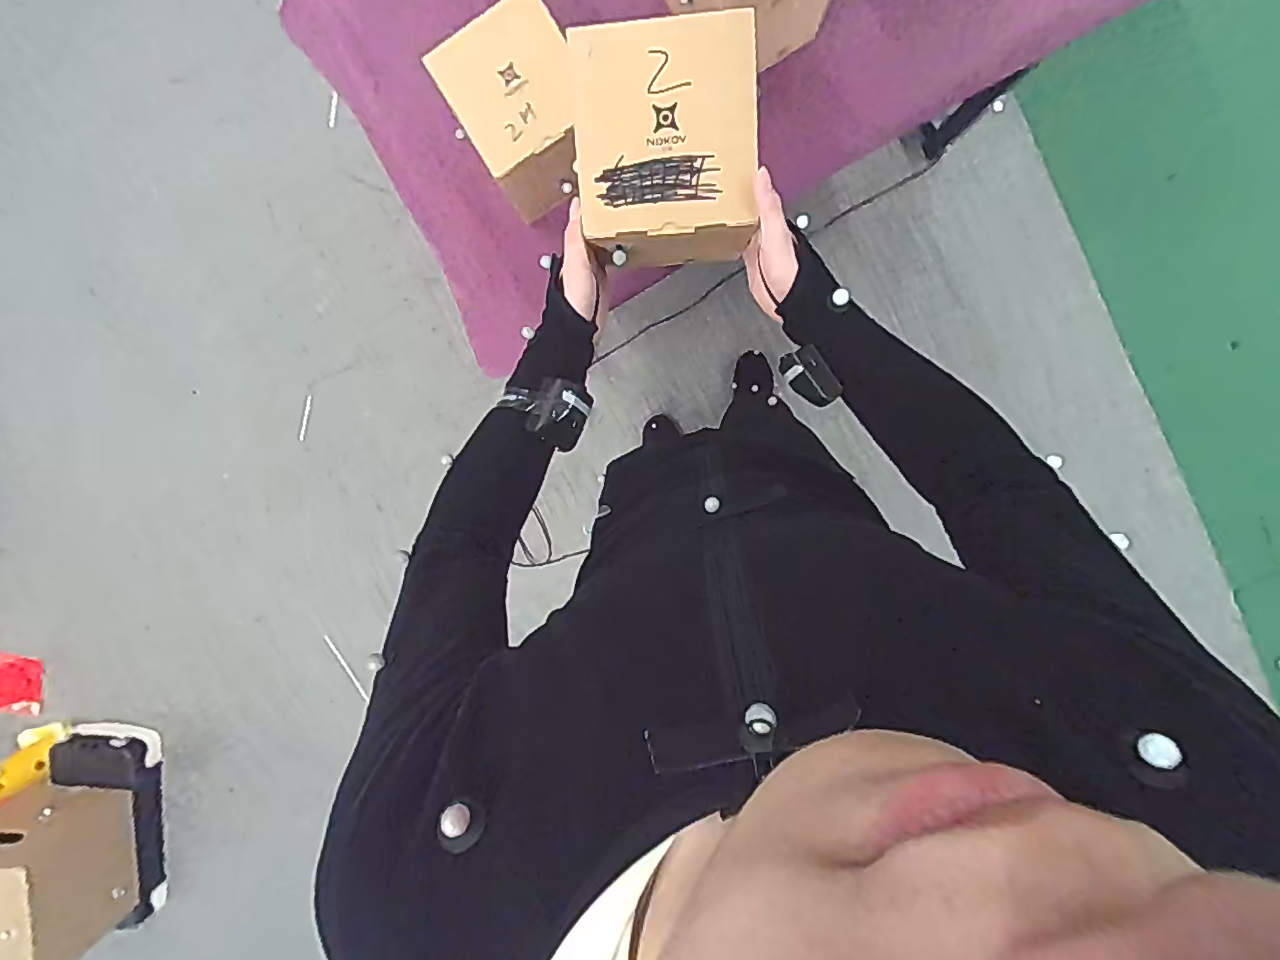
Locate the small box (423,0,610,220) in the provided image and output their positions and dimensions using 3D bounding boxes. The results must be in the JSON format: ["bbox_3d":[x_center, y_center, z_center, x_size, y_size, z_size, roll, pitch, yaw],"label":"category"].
[{"bbox_3d":[-0.157,-0.503,0.752,0.168,0.176,0.179,-31,95,6],"label":"small box"}]

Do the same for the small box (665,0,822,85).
[{"bbox_3d":[0.140,-0.679,0.722,0.168,0.176,0.179,-30,94,5],"label":"small box"}]
